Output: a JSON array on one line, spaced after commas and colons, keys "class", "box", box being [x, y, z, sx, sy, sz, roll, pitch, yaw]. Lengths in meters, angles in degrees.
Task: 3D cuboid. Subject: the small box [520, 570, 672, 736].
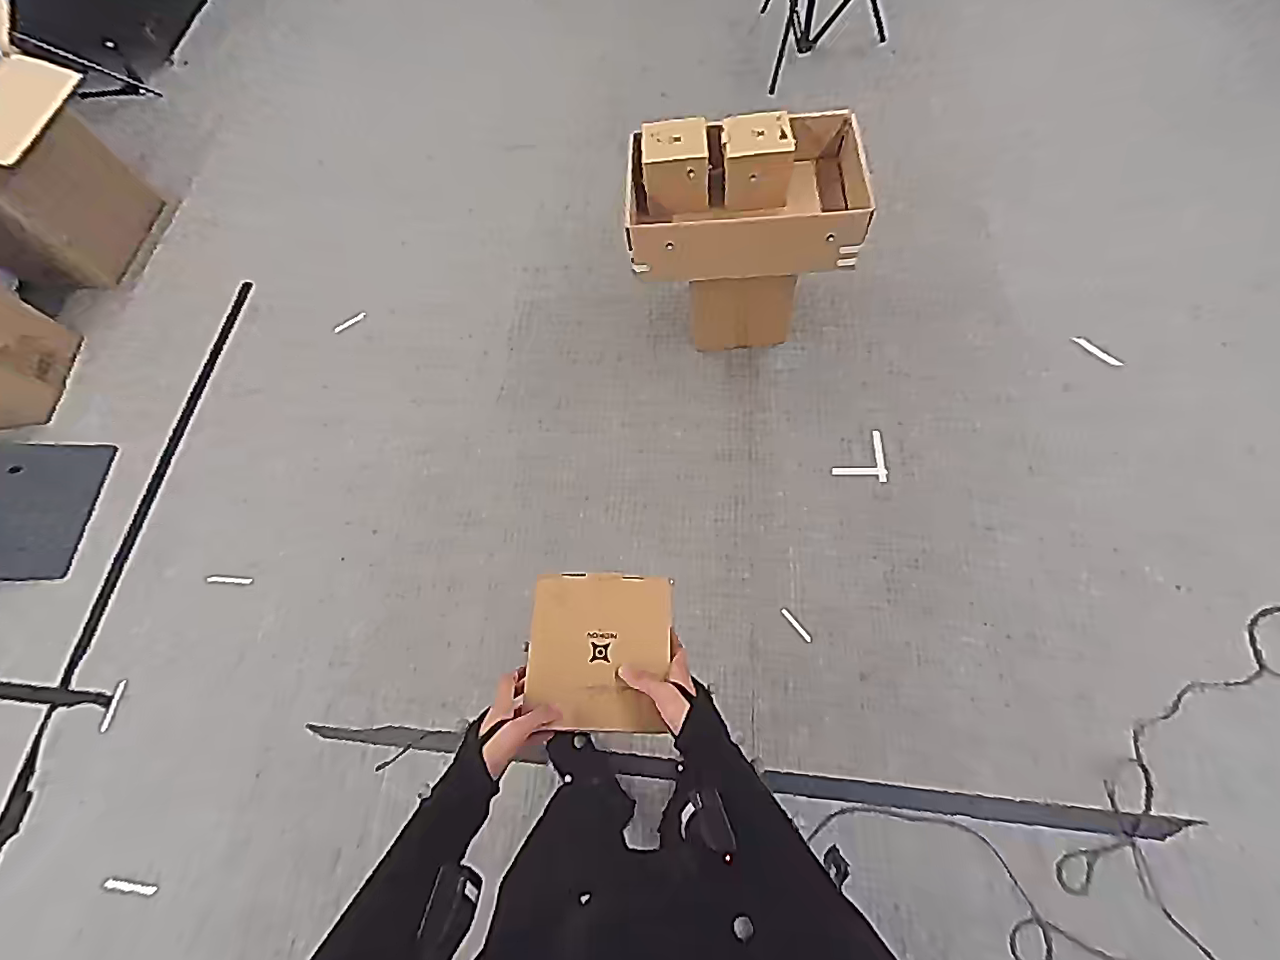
[{"class": "small box", "box": [-0.053, 0.228, 0.695, 0.168, 0.176, 0.179, 4, 64, -3]}]
